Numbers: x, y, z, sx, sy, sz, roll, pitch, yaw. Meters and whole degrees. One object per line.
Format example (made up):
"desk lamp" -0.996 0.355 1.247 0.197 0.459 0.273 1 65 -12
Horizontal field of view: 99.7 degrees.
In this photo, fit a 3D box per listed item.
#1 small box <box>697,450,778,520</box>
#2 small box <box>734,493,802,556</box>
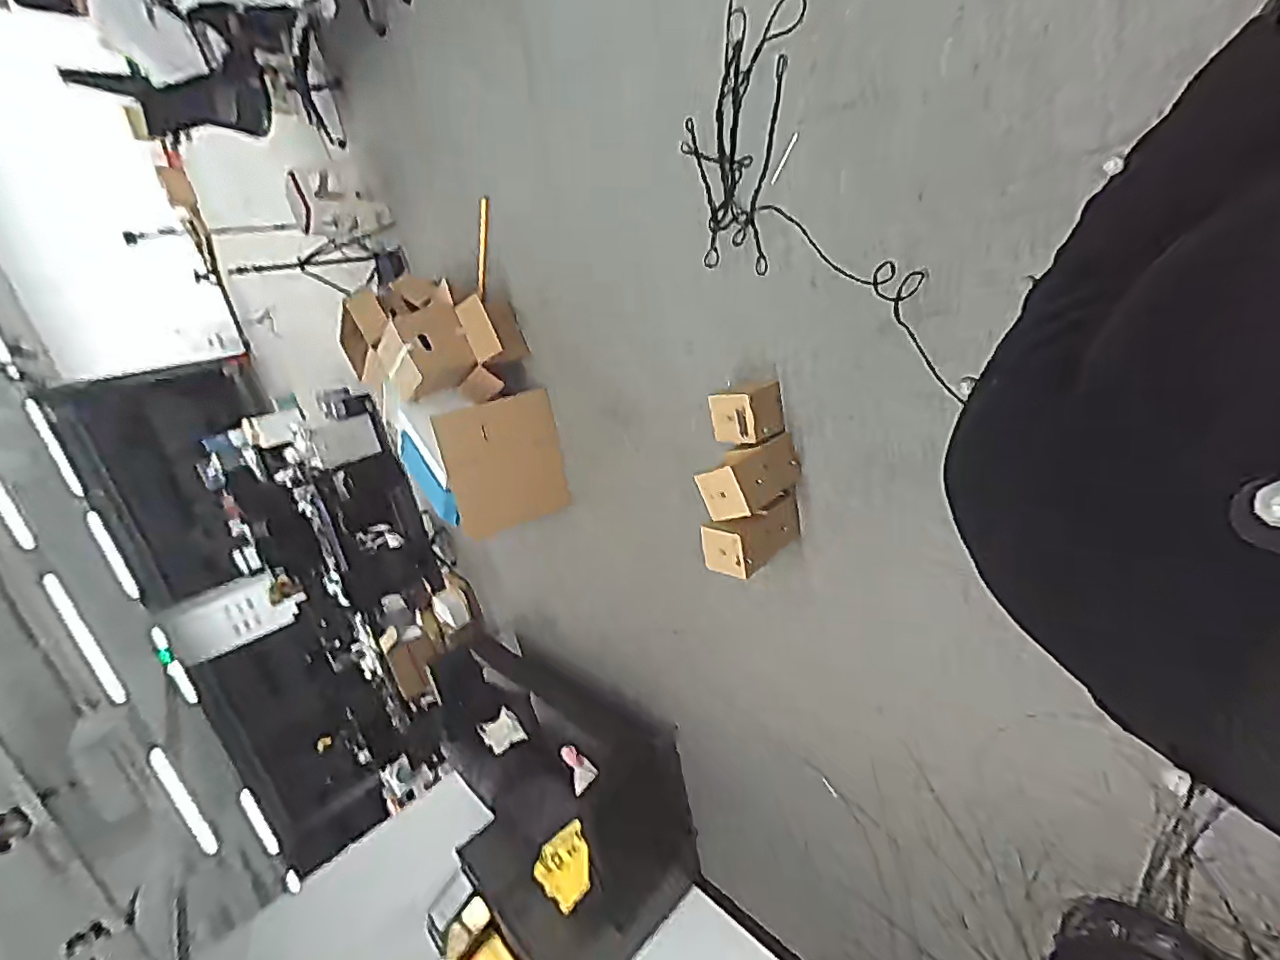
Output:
"small box" 0.324 0.015 1.756 0.179 0.176 0.168 -17 97 54
"small box" 0.460 0.147 1.942 0.168 0.176 0.179 9 118 49
